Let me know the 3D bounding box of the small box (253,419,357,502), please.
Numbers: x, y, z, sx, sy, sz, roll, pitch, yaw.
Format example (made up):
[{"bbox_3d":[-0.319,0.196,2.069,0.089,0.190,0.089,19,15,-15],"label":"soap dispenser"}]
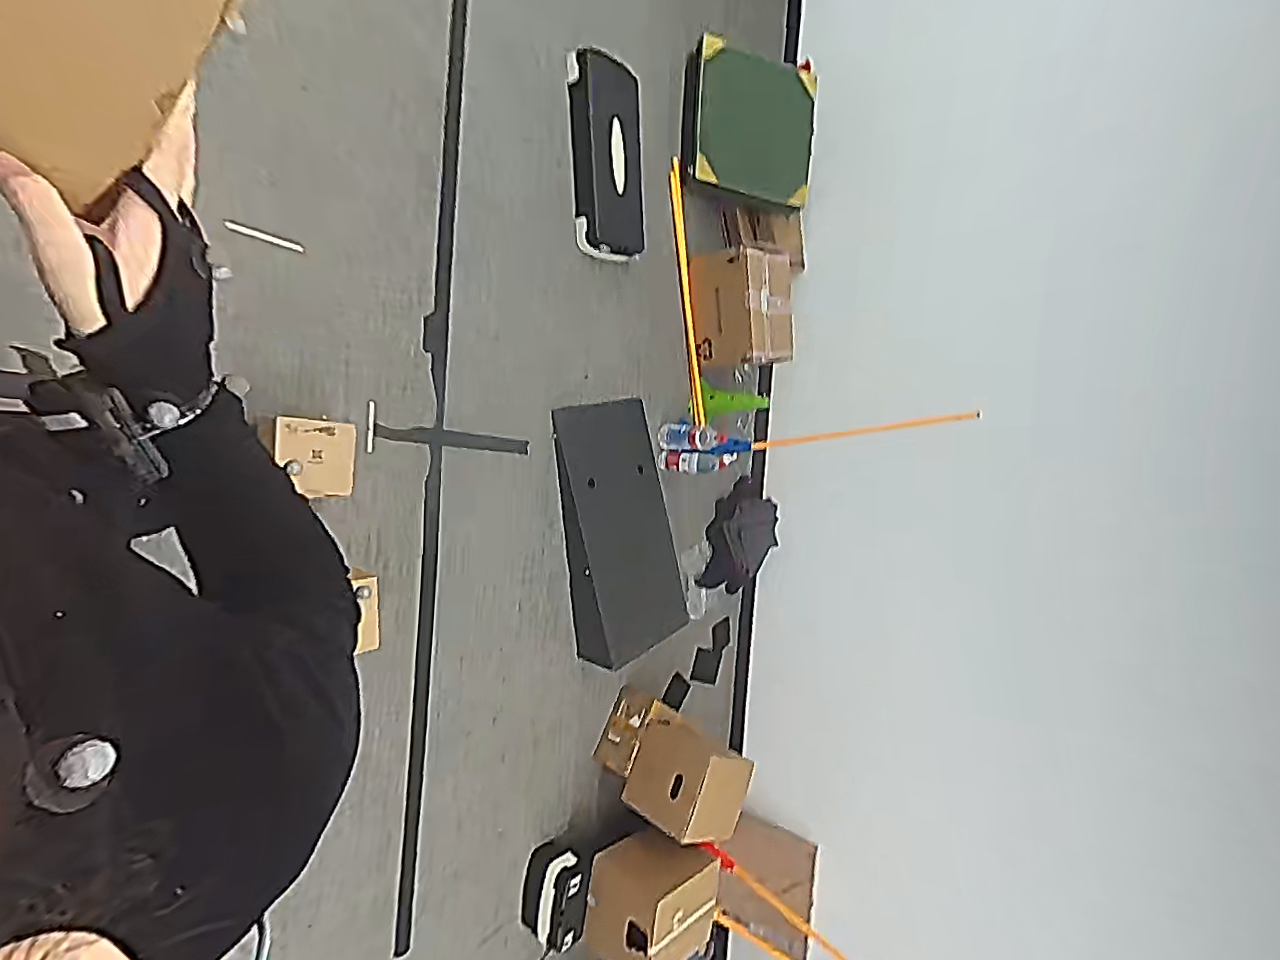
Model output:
[{"bbox_3d":[-0.794,-0.046,1.277,0.168,0.176,0.179,4,92,-49],"label":"small box"}]

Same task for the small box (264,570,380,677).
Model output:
[{"bbox_3d":[-0.694,0.302,1.183,0.179,0.176,0.168,-5,98,-49],"label":"small box"}]
